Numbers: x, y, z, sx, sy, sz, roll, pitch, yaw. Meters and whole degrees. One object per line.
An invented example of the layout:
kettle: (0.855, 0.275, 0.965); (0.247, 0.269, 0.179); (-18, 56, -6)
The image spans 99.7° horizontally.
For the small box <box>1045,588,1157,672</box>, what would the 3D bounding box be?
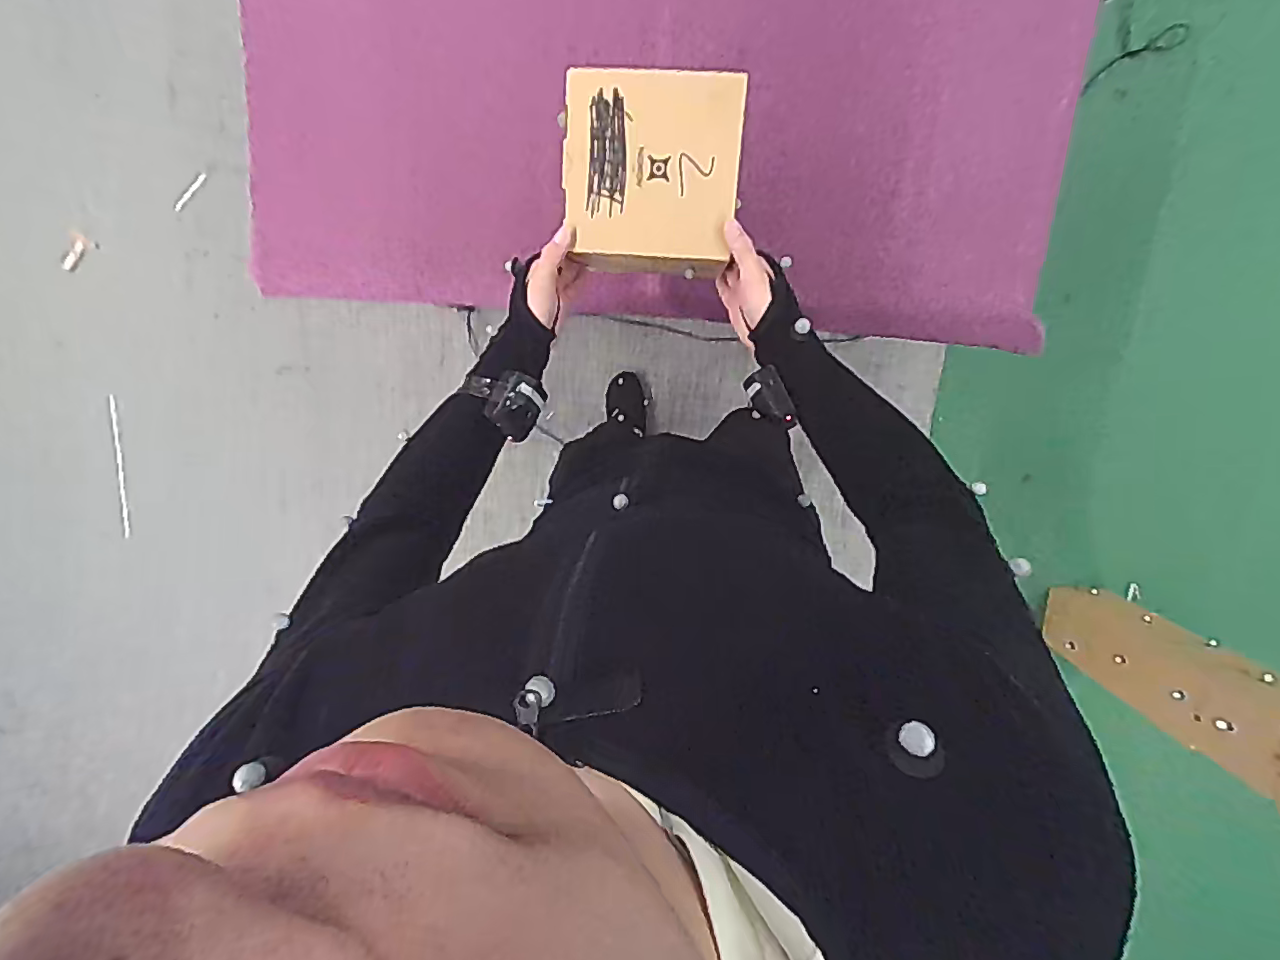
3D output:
small box: (1.283, 0.423, 1.519); (0.168, 0.176, 0.179); (2, 101, 4)

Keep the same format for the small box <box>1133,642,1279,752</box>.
small box: (1.254, 0.477, 1.200); (0.168, 0.176, 0.179); (2, 101, 5)

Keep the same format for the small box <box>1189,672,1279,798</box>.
small box: (1.230, 0.490, 1.038); (0.179, 0.176, 0.168); (6, 100, 5)

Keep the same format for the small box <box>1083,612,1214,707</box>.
small box: (1.269, 0.454, 1.361); (0.168, 0.176, 0.179); (4, 100, 4)
